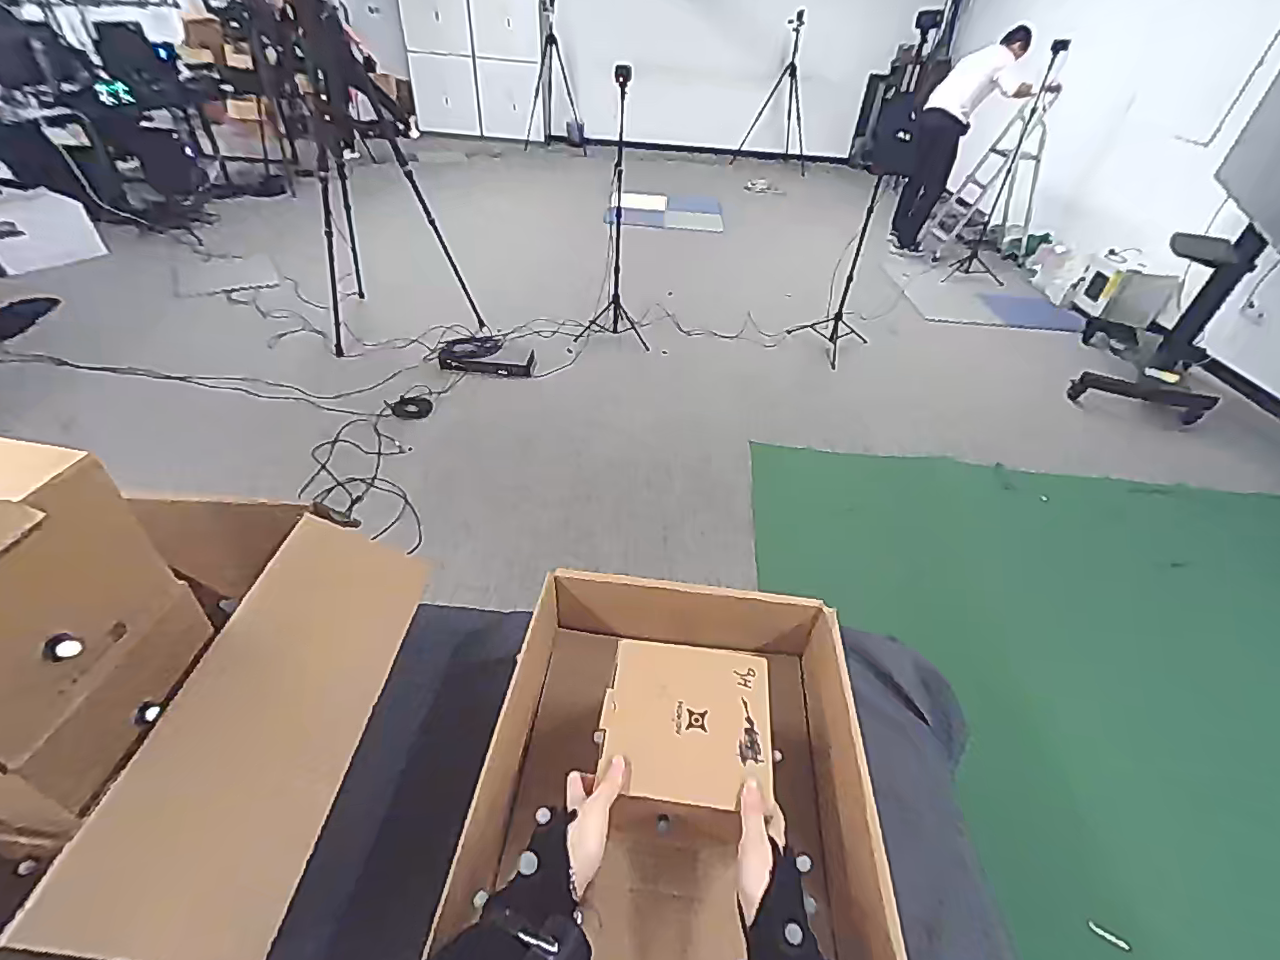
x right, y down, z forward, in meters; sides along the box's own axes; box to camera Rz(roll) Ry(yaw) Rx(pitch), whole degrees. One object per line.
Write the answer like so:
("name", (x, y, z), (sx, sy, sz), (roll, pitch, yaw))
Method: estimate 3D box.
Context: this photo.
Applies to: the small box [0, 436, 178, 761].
("small box", (-0.504, 0.080, 0.391), (0.179, 0.176, 0.168), (9, 39, -2))
